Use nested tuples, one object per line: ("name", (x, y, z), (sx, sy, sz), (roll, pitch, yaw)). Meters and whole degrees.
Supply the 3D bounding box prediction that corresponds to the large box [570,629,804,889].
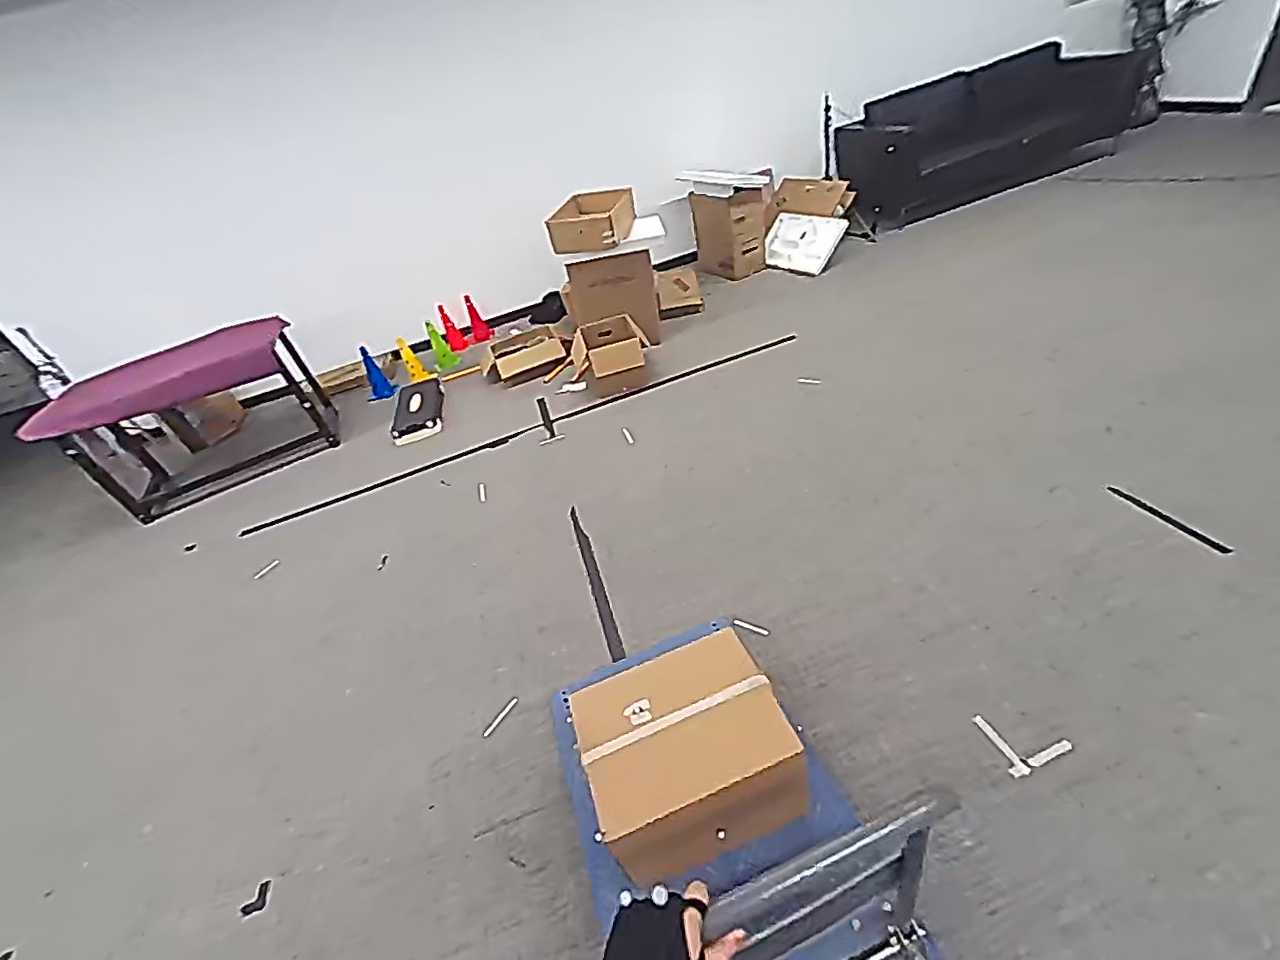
("large box", (0.106, 0.614, 1.207), (0.408, 0.320, 0.320), (-22, 36, -7))
